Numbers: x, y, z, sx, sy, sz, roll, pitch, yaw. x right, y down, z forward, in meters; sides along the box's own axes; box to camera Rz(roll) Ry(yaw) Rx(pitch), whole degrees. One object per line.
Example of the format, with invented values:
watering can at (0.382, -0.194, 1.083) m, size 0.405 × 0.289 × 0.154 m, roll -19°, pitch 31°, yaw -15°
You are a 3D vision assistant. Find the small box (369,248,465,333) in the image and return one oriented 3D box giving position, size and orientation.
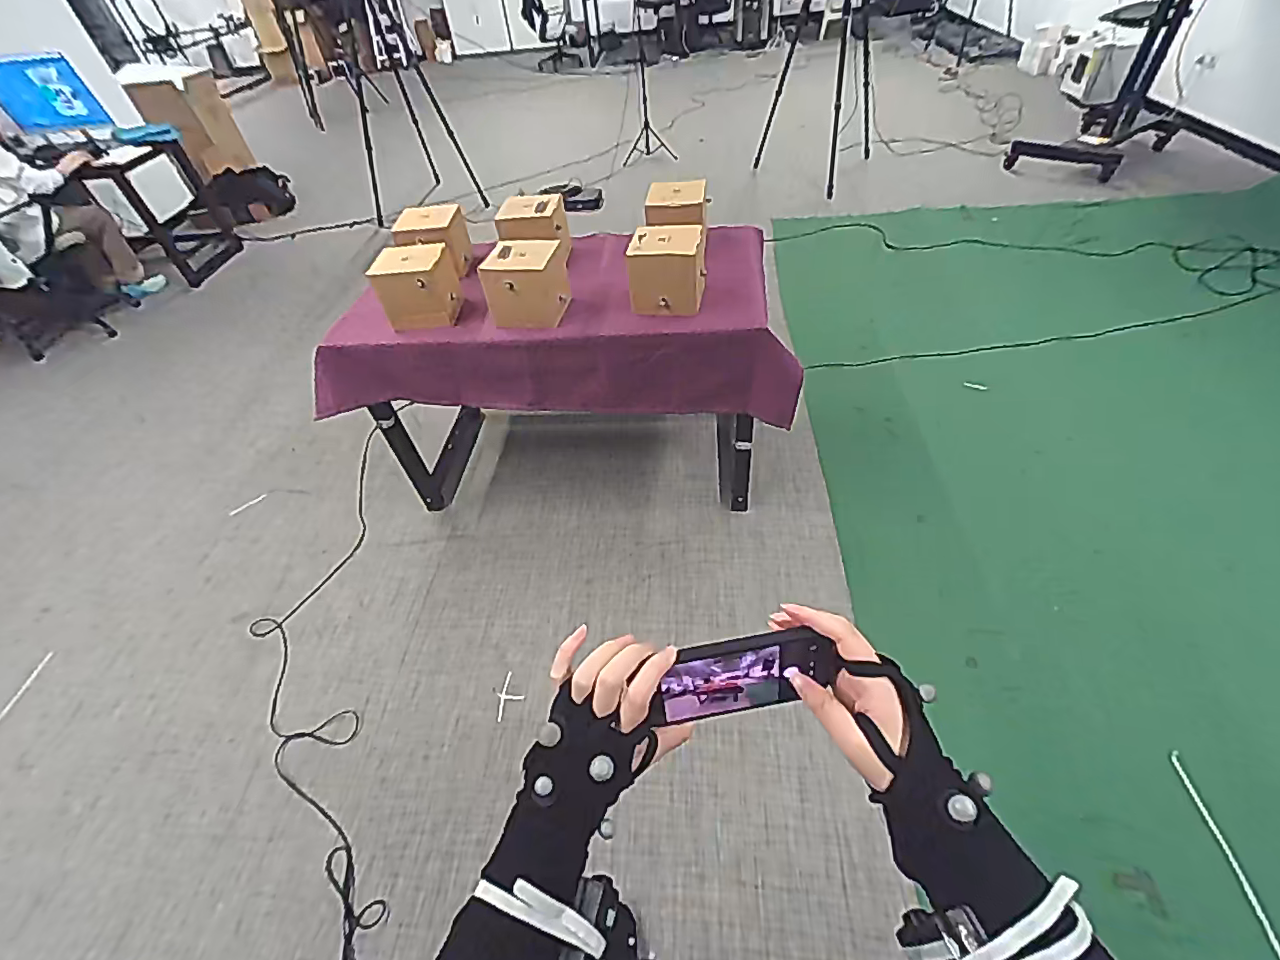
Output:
small box at (-0.606, -0.519, 1.492) m, size 0.179 × 0.176 × 0.168 m, roll -4°, pitch 46°, yaw 2°

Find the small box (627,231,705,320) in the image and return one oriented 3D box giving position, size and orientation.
small box at (0.073, -0.536, 1.424) m, size 0.179 × 0.176 × 0.168 m, roll 5°, pitch 47°, yaw 11°

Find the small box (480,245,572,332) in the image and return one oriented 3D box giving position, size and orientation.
small box at (-0.296, -0.510, 1.445) m, size 0.179 × 0.176 × 0.168 m, roll 5°, pitch 48°, yaw 10°

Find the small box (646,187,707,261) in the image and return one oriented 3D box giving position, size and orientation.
small box at (0.114, -0.765, 1.635) m, size 0.168 × 0.176 × 0.179 m, roll 2°, pitch 48°, yaw 10°
